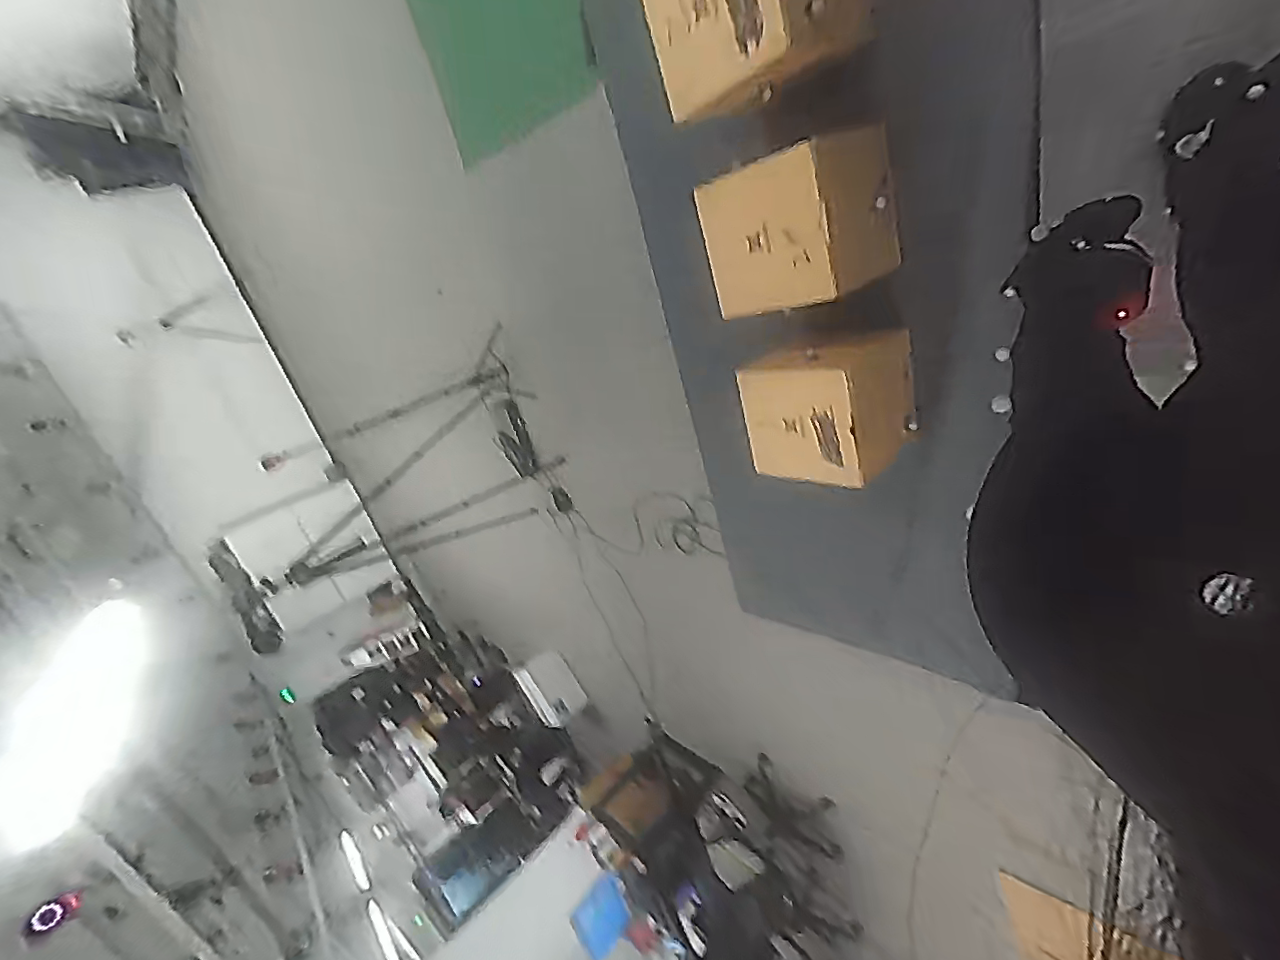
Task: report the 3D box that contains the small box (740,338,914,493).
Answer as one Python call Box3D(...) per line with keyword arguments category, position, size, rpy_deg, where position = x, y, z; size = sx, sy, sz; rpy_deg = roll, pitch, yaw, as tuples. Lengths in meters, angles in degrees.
Box3D(category="small box", position=(0.278, -0.100, 0.784), size=(0.179, 0.176, 0.168), rpy_deg=(11, 124, 49))

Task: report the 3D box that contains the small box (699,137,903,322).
Box3D(category="small box", position=(0.210, -0.317, 0.700), size=(0.179, 0.176, 0.168), rpy_deg=(8, 123, 50))
